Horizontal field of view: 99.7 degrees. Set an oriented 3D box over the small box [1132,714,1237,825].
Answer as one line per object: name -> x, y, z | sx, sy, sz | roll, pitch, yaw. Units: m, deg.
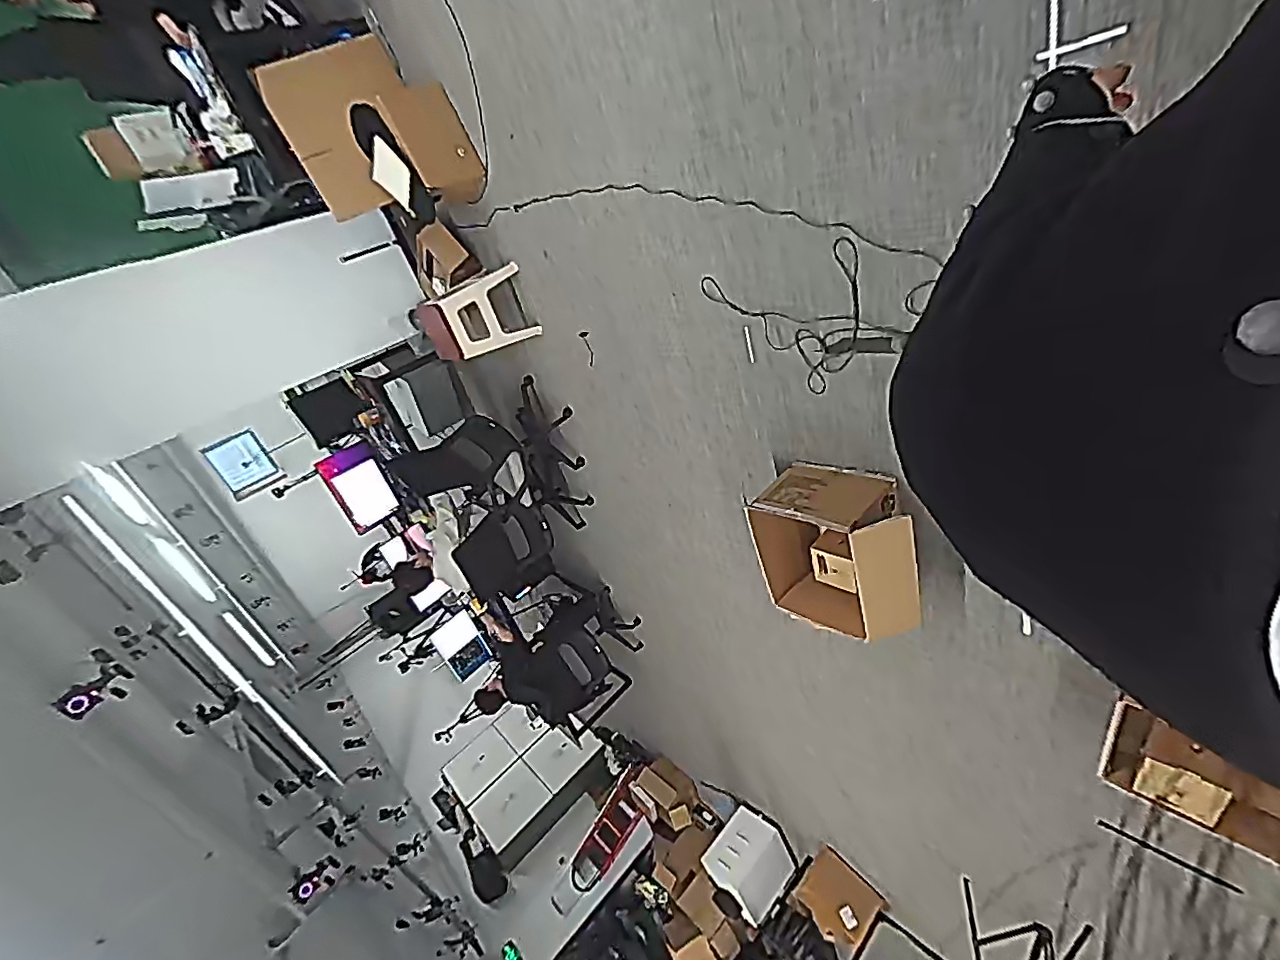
small box -> 1.501, 0.787, 1.490 | 0.168, 0.176, 0.179 | 19, 134, 44
